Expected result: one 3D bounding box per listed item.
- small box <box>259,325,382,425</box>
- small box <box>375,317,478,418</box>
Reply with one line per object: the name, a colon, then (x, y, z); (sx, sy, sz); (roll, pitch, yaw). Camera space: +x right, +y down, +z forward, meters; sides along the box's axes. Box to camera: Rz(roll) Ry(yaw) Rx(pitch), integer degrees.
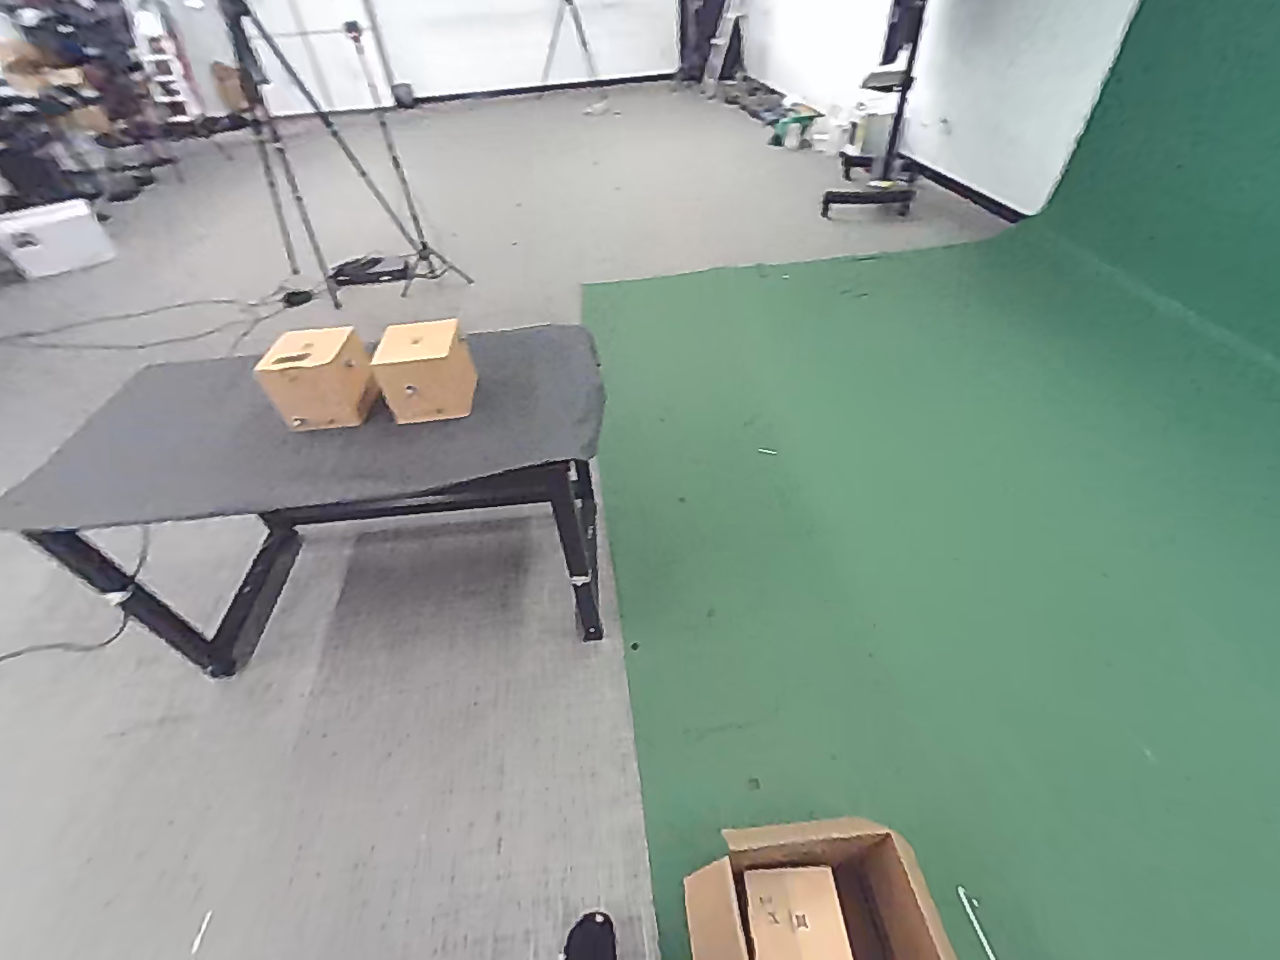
small box: (-0.736, -0.242, 1.272); (0.168, 0.176, 0.179); (-5, 43, 0)
small box: (-0.489, -0.257, 1.269); (0.168, 0.176, 0.179); (-7, 44, -2)
